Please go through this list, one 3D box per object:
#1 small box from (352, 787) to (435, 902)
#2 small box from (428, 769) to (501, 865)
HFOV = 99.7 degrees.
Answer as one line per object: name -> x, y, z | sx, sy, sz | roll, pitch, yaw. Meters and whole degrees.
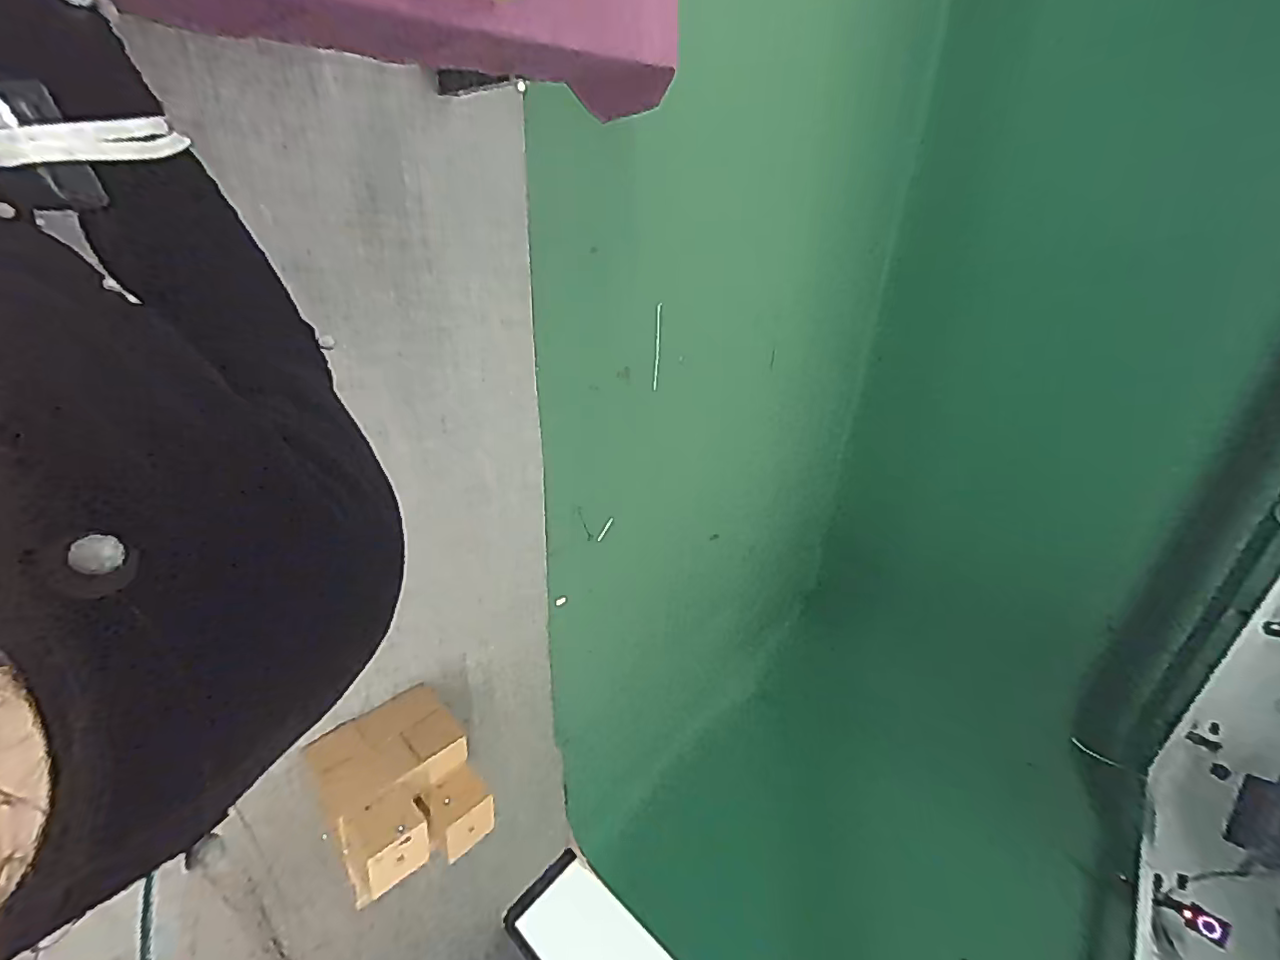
small box -> -0.706, 1.036, 1.552 | 0.168, 0.176, 0.179 | -18, 124, -45
small box -> -0.569, 1.078, 1.751 | 0.168, 0.176, 0.179 | -21, 126, -44
